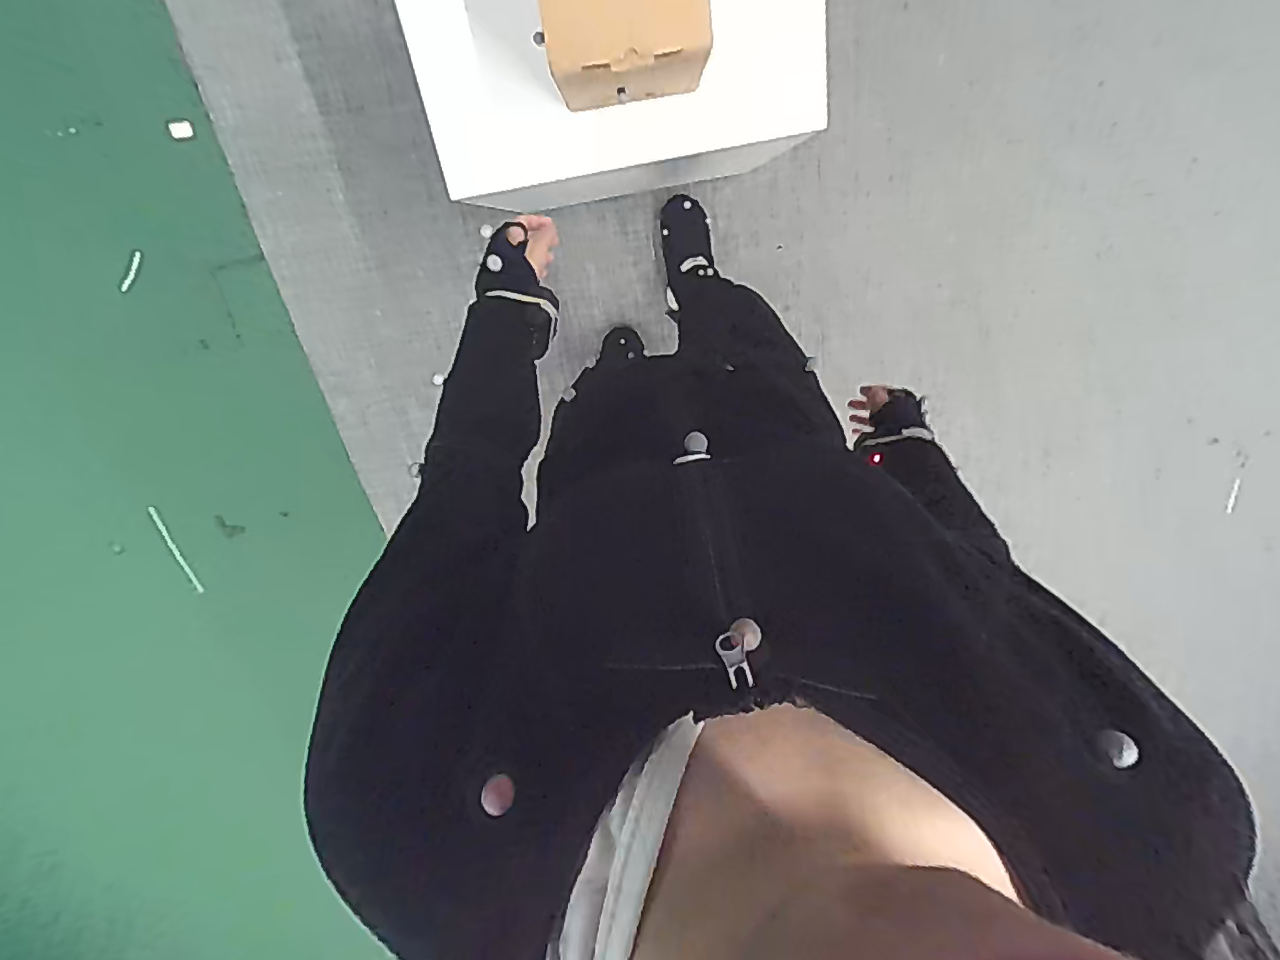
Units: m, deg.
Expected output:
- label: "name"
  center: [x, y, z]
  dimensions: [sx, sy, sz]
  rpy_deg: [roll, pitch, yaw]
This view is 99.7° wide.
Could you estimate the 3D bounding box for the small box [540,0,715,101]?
- label: "small box"
  center: [-0.019, -0.528, 0.563]
  dimensions: [0.168, 0.176, 0.179]
  rpy_deg: [-7, 114, 3]
